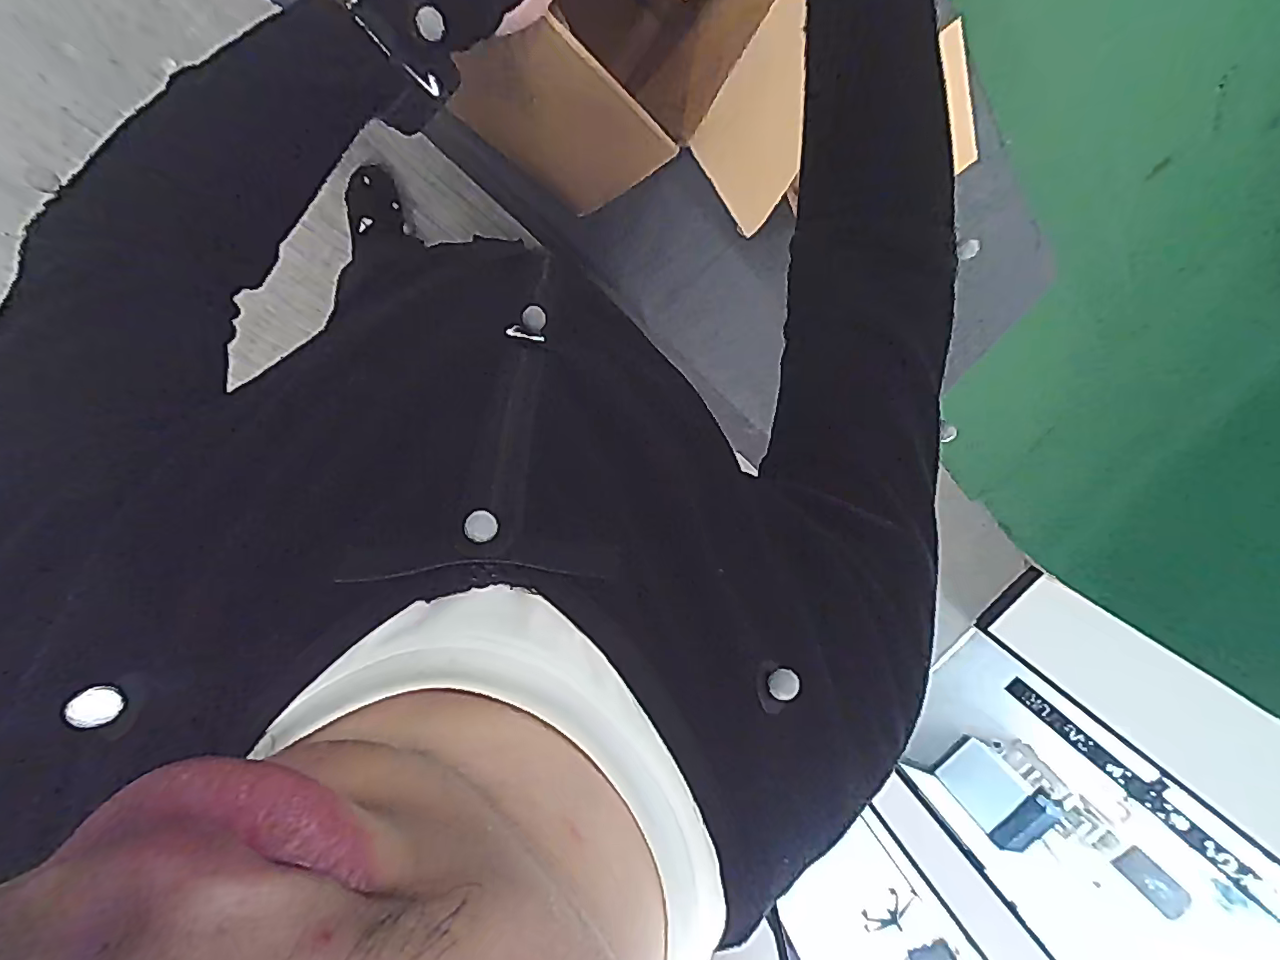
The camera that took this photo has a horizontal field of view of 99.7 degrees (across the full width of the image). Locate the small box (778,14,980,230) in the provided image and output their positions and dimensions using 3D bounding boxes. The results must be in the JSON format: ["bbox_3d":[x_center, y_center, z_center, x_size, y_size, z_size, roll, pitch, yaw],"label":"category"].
[{"bbox_3d":[0.309,-0.466,0.725,0.179,0.176,0.168,-38,128,0],"label":"small box"}]
